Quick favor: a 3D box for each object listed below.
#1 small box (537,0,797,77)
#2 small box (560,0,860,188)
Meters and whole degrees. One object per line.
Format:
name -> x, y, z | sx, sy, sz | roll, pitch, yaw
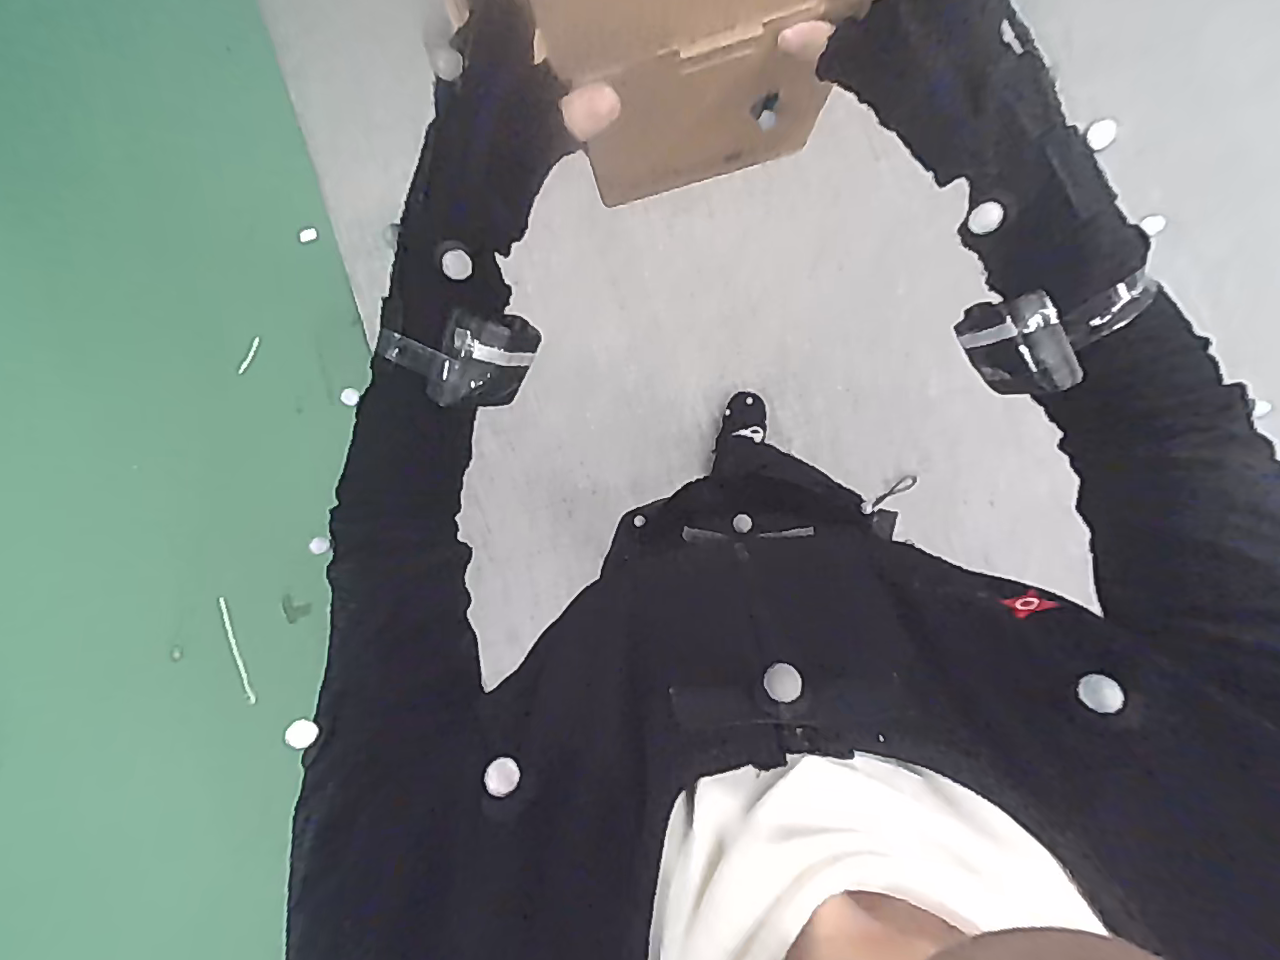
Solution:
small box -> 0.017, -0.300, 0.193 | 0.179, 0.176, 0.168 | -18, 96, 4
small box -> 0.025, -0.321, 0.356 | 0.168, 0.176, 0.179 | -14, 94, 5
